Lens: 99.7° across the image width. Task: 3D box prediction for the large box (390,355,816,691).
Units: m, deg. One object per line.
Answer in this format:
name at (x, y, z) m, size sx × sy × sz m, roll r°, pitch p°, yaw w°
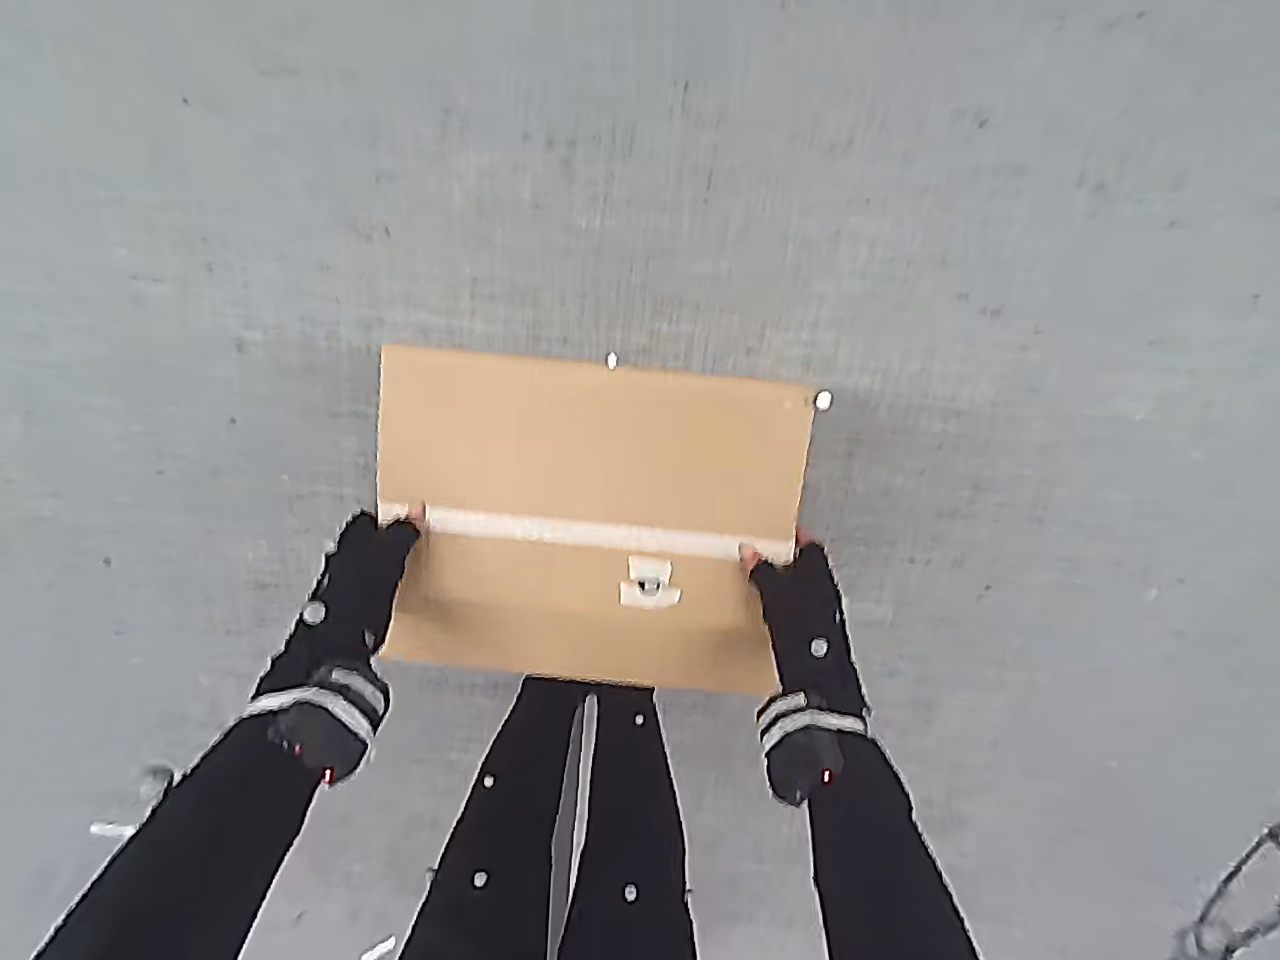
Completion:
large box at (-0.045, 0.028, 0.673) m, size 0.408 × 0.320 × 0.320 m, roll 5°, pitch 100°, yaw 0°
